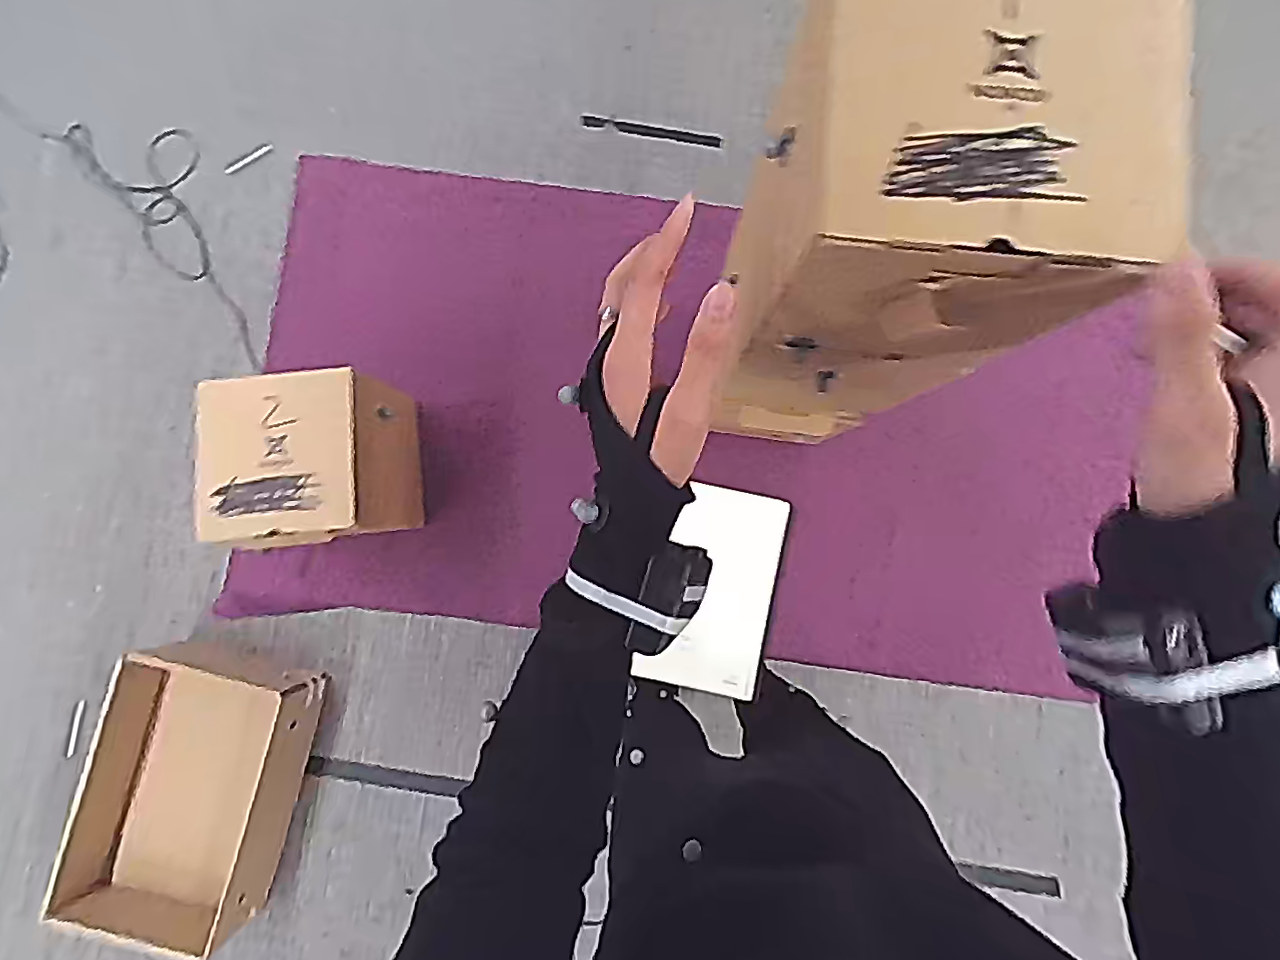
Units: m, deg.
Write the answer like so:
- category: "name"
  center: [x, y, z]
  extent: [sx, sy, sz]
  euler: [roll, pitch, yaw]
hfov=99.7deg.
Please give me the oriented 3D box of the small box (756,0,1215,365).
- category: "small box"
  center: [0.169, -0.178, 0.320]
  extent: [0.168, 0.176, 0.179]
  euler: [5, 85, 0]

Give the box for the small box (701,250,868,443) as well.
- category: "small box"
  center: [0.169, -0.146, 0.648]
  extent: [0.168, 0.176, 0.179]
  euler: [8, 86, 1]

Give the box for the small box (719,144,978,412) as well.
- category: "small box"
  center: [0.172, -0.162, 0.484]
  extent: [0.179, 0.176, 0.168]
  euler: [7, 87, 0]
